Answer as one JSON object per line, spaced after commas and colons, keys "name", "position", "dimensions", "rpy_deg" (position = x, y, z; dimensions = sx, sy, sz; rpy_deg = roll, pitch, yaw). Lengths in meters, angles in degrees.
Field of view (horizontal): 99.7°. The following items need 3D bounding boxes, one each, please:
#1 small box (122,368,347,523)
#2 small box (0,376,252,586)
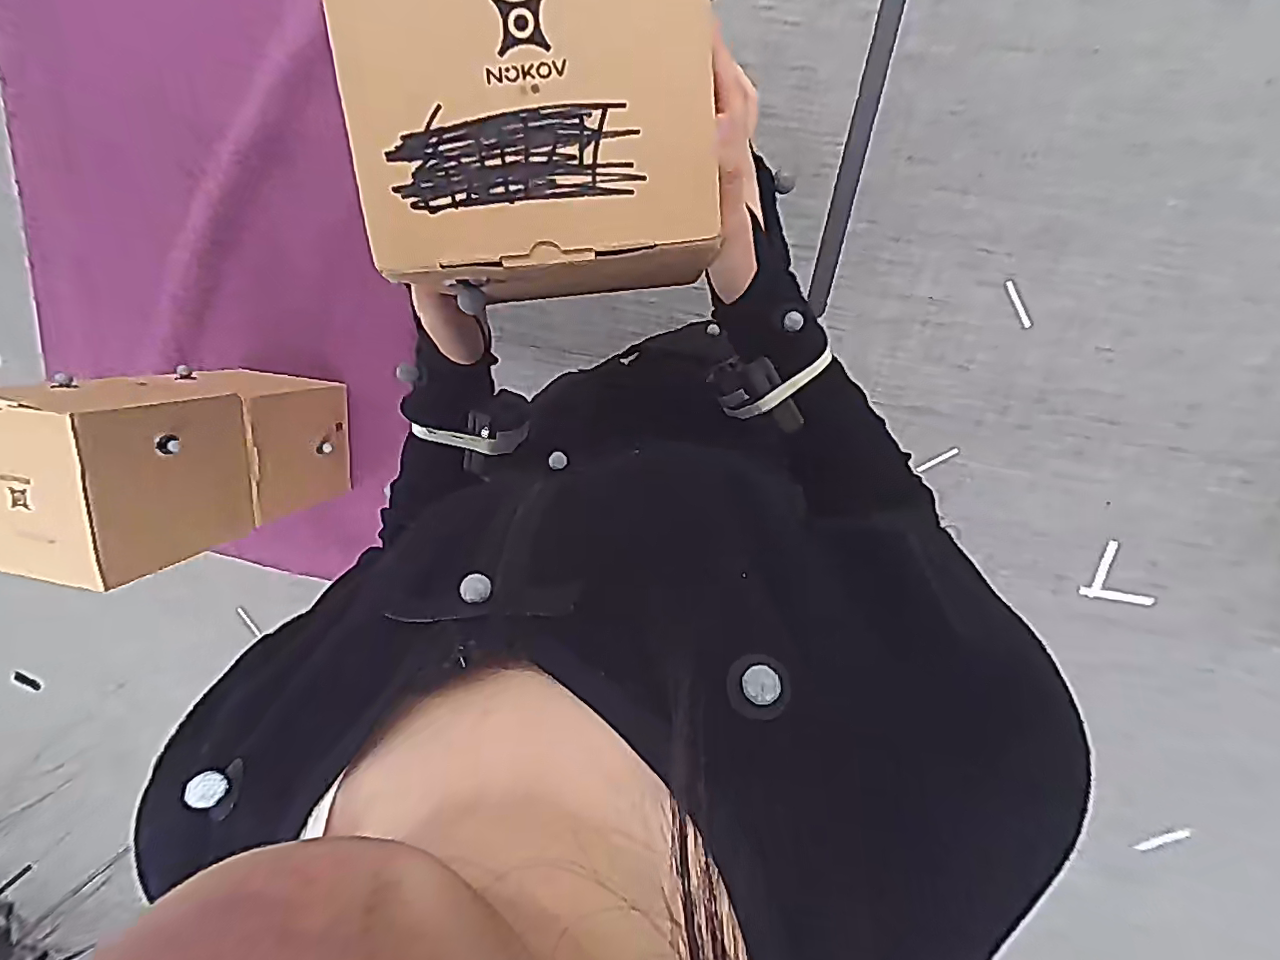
{"name": "small box", "position": [-0.533, -0.057, 0.733], "dimensions": [0.179, 0.176, 0.168], "rpy_deg": [9, 107, 7]}
{"name": "small box", "position": [-0.561, -0.013, 0.580], "dimensions": [0.168, 0.176, 0.179], "rpy_deg": [8, 107, 9]}
